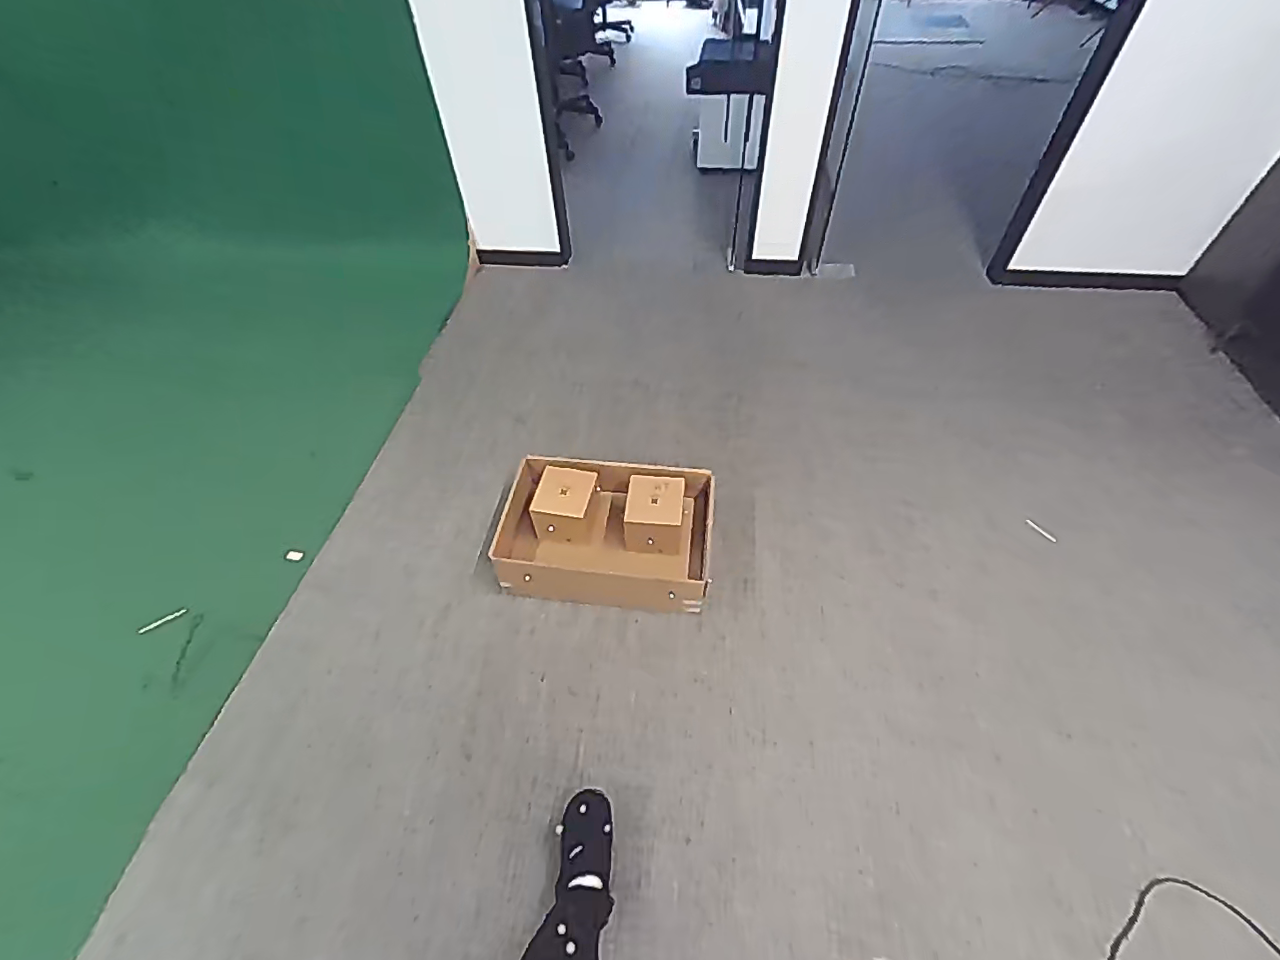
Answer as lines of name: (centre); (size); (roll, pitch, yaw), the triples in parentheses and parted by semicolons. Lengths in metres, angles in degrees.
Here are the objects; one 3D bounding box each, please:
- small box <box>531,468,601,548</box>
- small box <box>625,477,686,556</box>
small box: (-0.220, 0.091, 1.673); (0.168, 0.176, 0.179); (8, 51, 8)
small box: (0.051, 0.114, 1.640); (0.168, 0.176, 0.179); (5, 51, 6)
